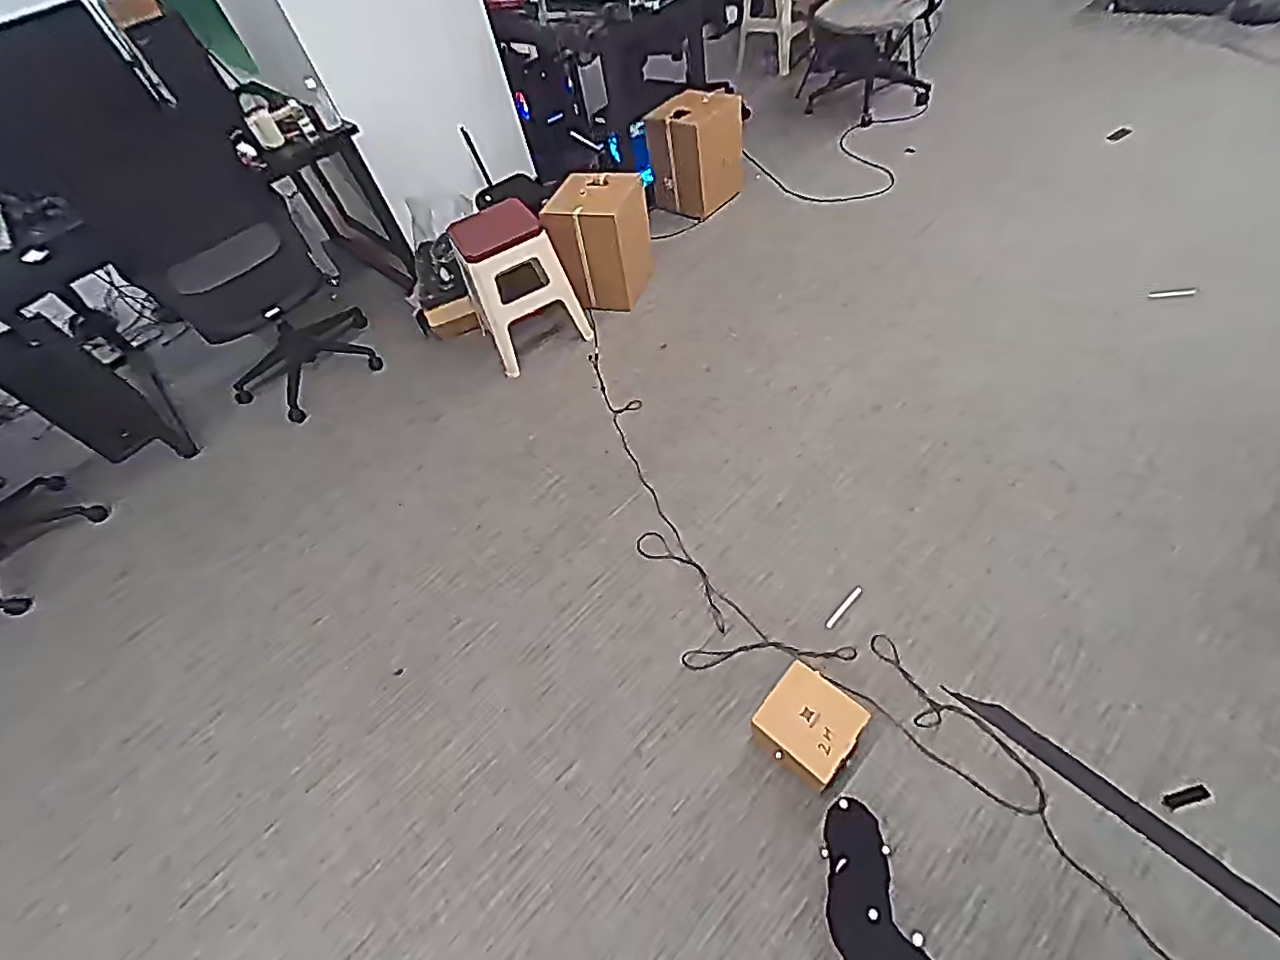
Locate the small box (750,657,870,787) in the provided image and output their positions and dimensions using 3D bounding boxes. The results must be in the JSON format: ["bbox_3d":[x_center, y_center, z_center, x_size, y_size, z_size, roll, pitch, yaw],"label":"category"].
[{"bbox_3d":[0.350,0.514,1.137,0.179,0.176,0.168,34,68,30],"label":"small box"}]
